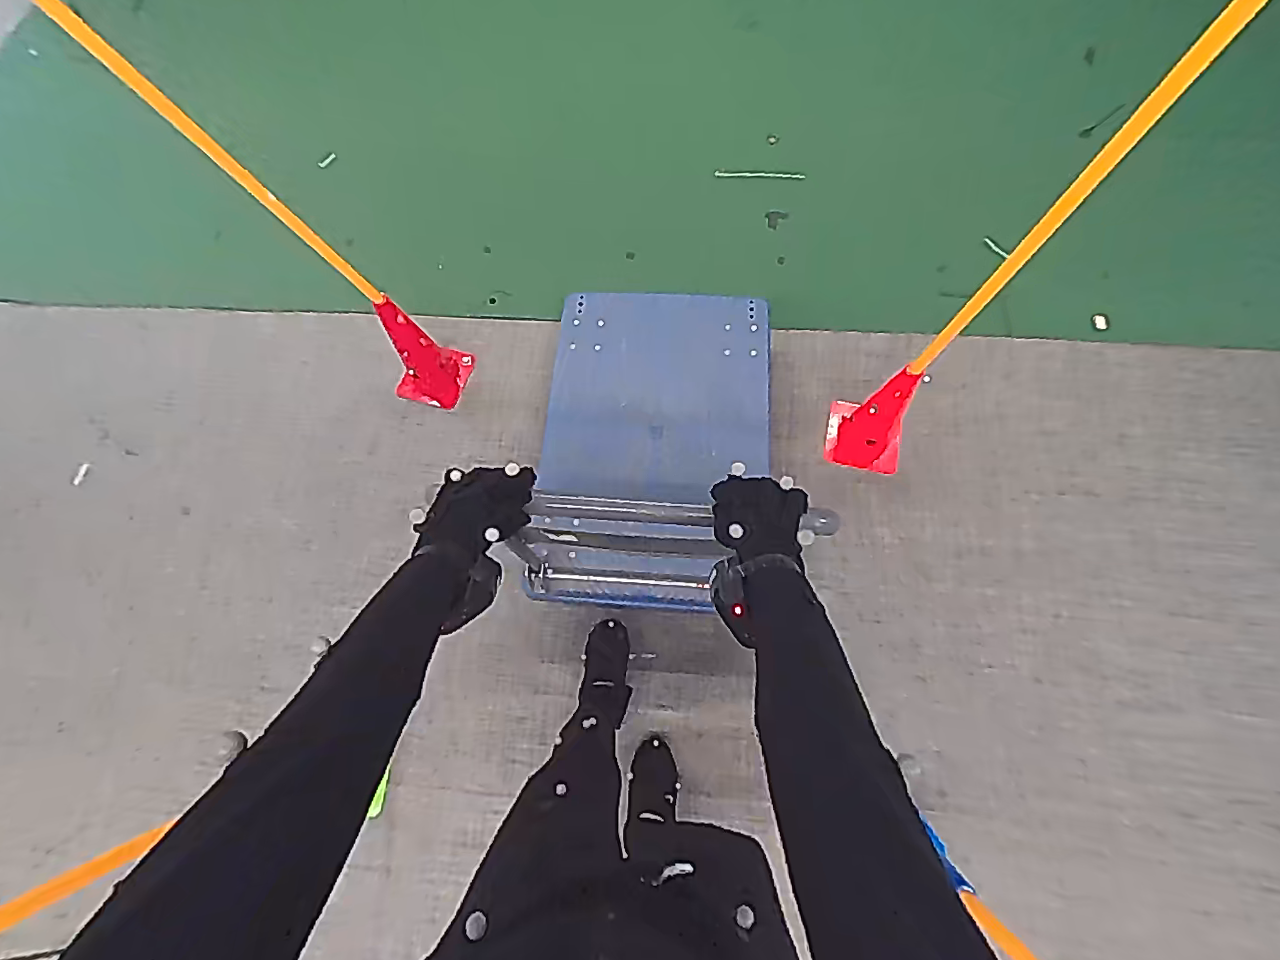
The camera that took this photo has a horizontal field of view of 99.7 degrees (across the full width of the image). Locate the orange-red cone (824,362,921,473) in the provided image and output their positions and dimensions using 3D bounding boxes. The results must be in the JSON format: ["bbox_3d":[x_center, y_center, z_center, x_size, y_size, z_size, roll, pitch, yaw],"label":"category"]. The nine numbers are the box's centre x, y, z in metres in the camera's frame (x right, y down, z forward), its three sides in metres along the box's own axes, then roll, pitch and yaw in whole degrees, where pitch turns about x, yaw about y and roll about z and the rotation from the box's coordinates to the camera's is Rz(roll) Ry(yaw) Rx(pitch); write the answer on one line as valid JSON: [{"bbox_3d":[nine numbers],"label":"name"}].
[{"bbox_3d":[0.623,-0.185,1.374,0.198,0.360,0.199,14,71,9],"label":"orange-red cone"}]
